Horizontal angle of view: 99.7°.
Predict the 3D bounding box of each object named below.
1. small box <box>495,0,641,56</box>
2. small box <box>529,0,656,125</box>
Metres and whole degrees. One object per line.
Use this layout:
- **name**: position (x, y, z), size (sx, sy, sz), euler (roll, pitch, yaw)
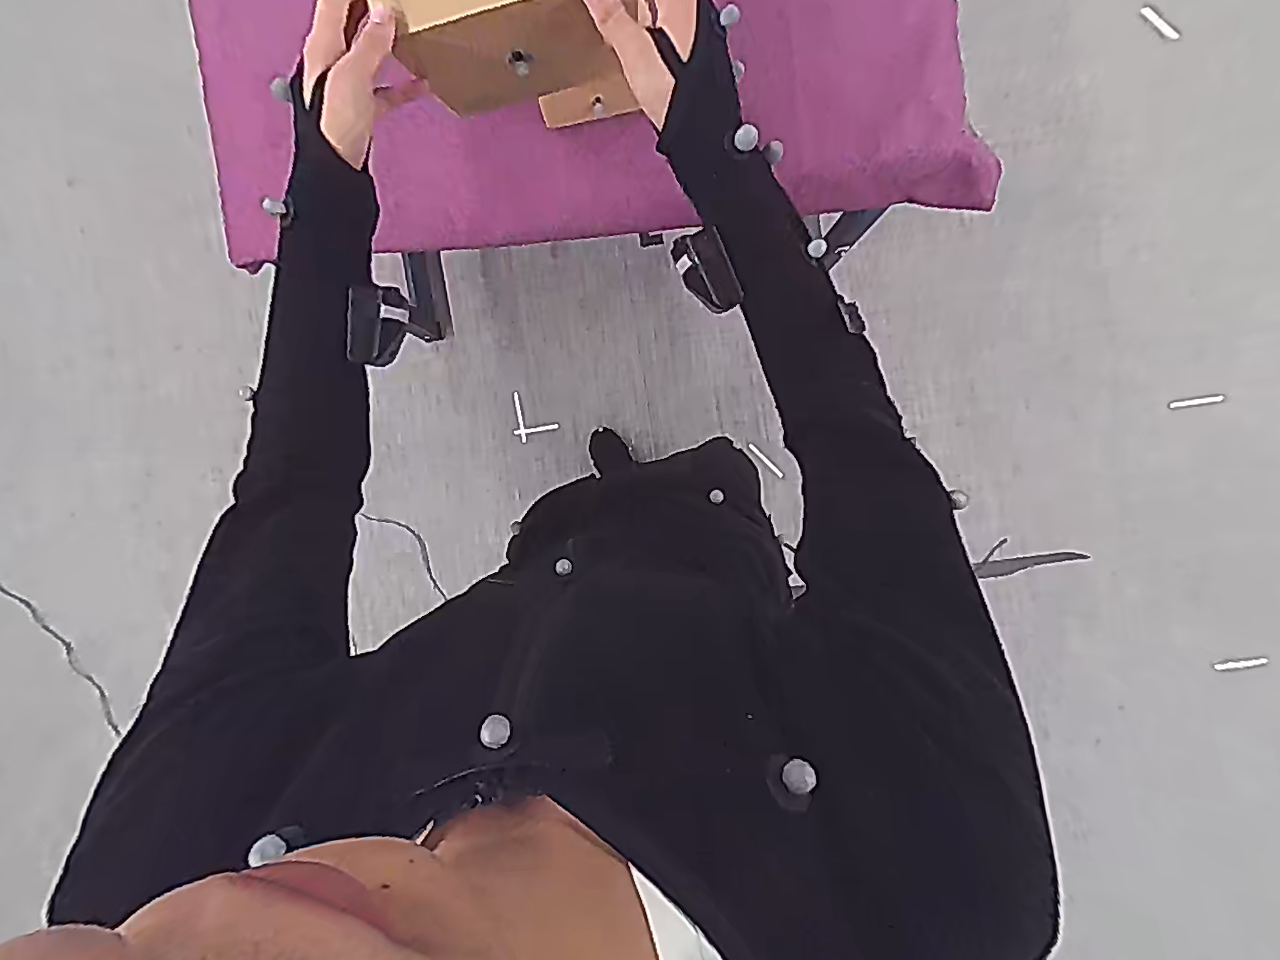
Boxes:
- **small box**: position (-0.099, -0.644, 0.631), size (0.179, 0.176, 0.168), euler (-11, 91, 1)
- **small box**: position (-0.079, -0.663, 0.793), size (0.179, 0.176, 0.168), euler (-11, 91, 1)
